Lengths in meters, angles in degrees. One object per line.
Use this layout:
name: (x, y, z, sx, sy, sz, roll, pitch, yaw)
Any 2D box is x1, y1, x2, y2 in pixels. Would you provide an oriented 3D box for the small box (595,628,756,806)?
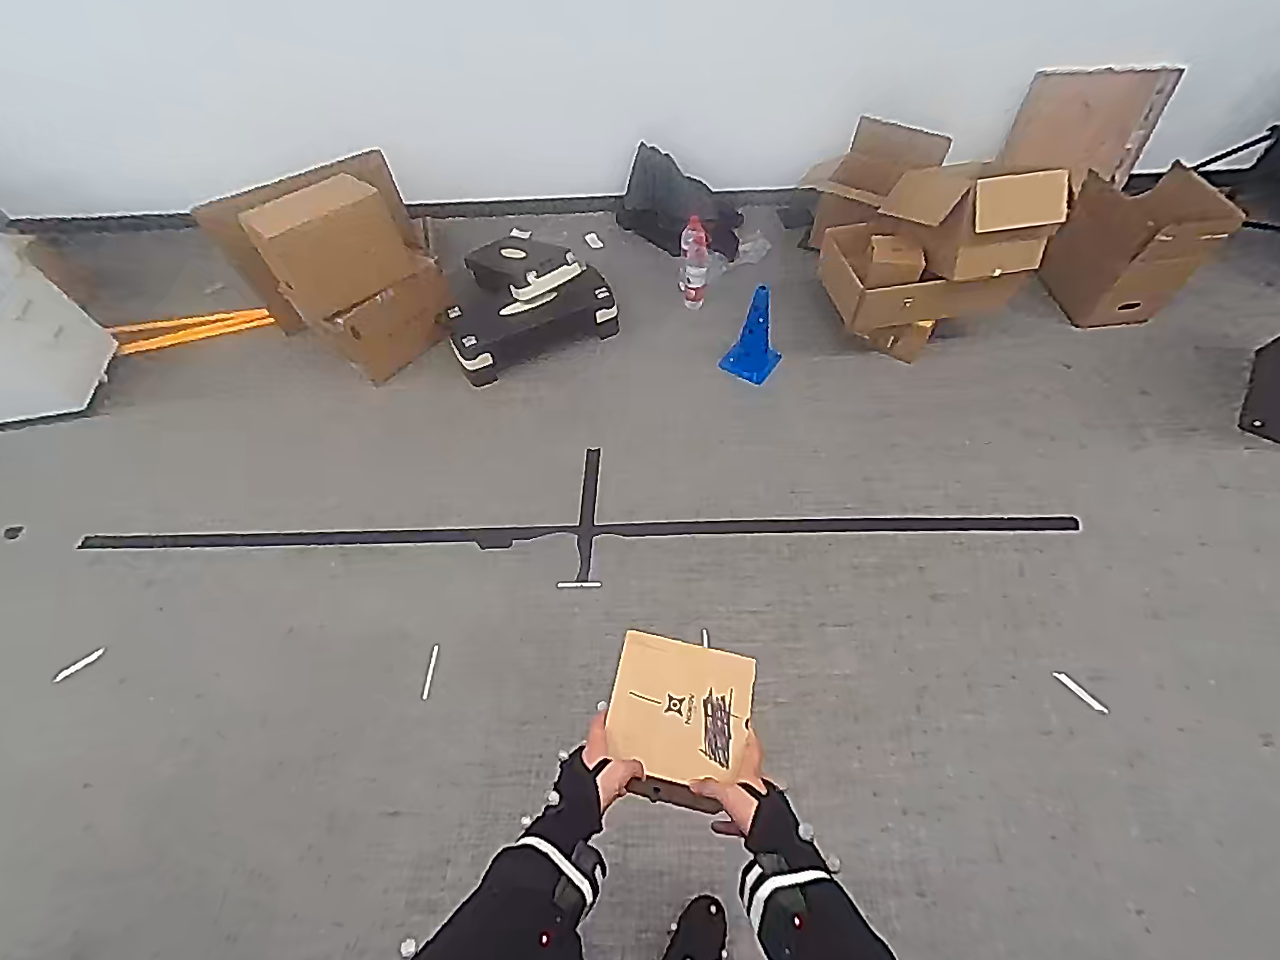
small box: (0.044, 0.326, 0.730, 0.179, 0.176, 0.168, 12, 53, 4)
